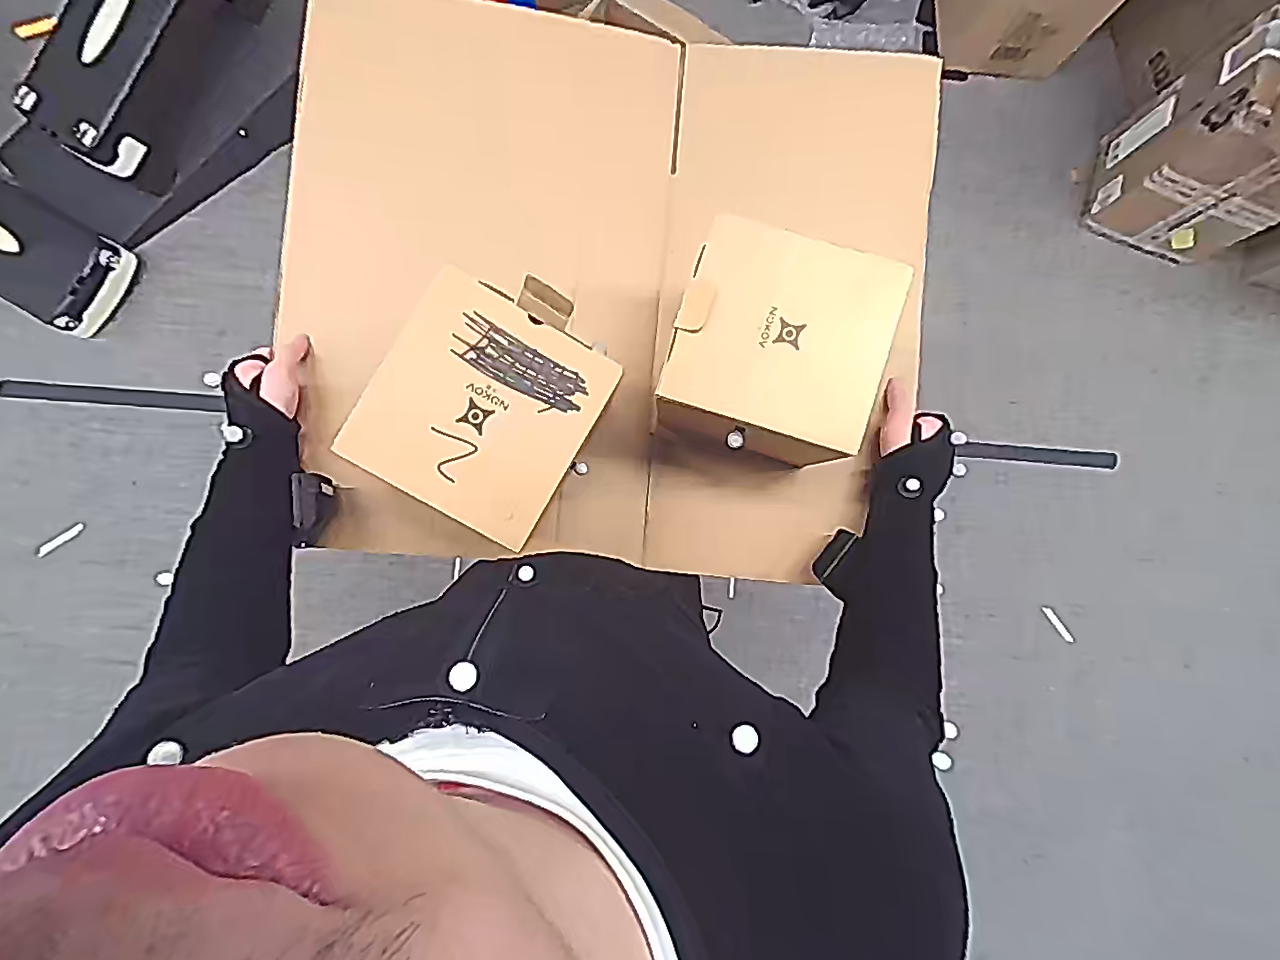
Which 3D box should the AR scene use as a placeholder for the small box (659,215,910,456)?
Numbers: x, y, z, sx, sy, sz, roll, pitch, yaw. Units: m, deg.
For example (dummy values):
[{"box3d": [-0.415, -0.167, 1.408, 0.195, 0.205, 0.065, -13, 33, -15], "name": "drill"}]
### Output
[{"box3d": [0.127, -0.126, 0.541, 0.179, 0.176, 0.168, 18, 90, 4], "name": "small box"}]
